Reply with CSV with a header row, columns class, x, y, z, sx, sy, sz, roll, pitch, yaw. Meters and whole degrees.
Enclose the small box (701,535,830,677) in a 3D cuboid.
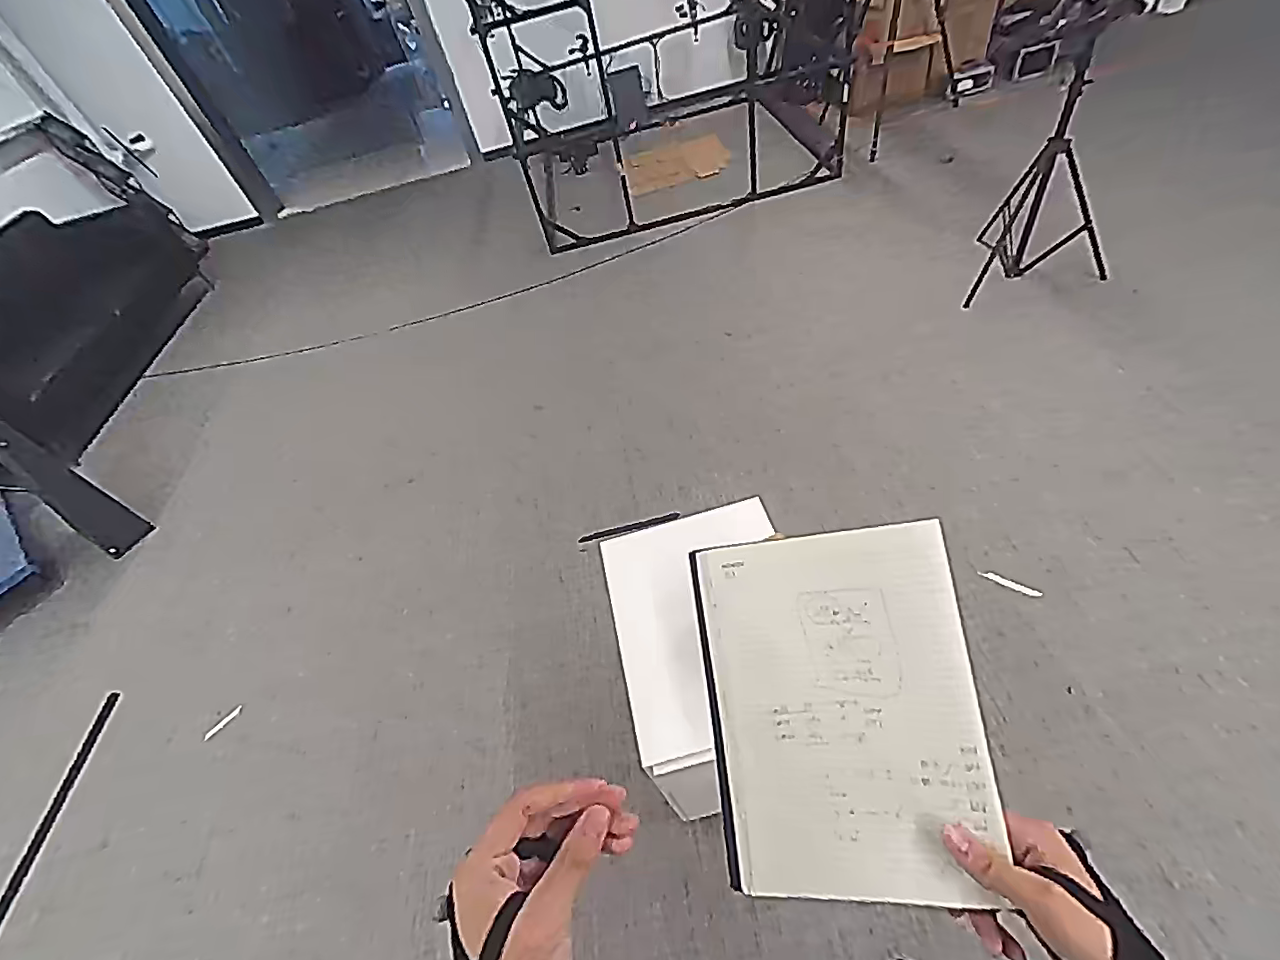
class,x,y,z,sx,sy,sz,roll,pitch,yaw
small box,0.234,0.241,1.026,0.179,0.176,0.168,-23,47,-5
